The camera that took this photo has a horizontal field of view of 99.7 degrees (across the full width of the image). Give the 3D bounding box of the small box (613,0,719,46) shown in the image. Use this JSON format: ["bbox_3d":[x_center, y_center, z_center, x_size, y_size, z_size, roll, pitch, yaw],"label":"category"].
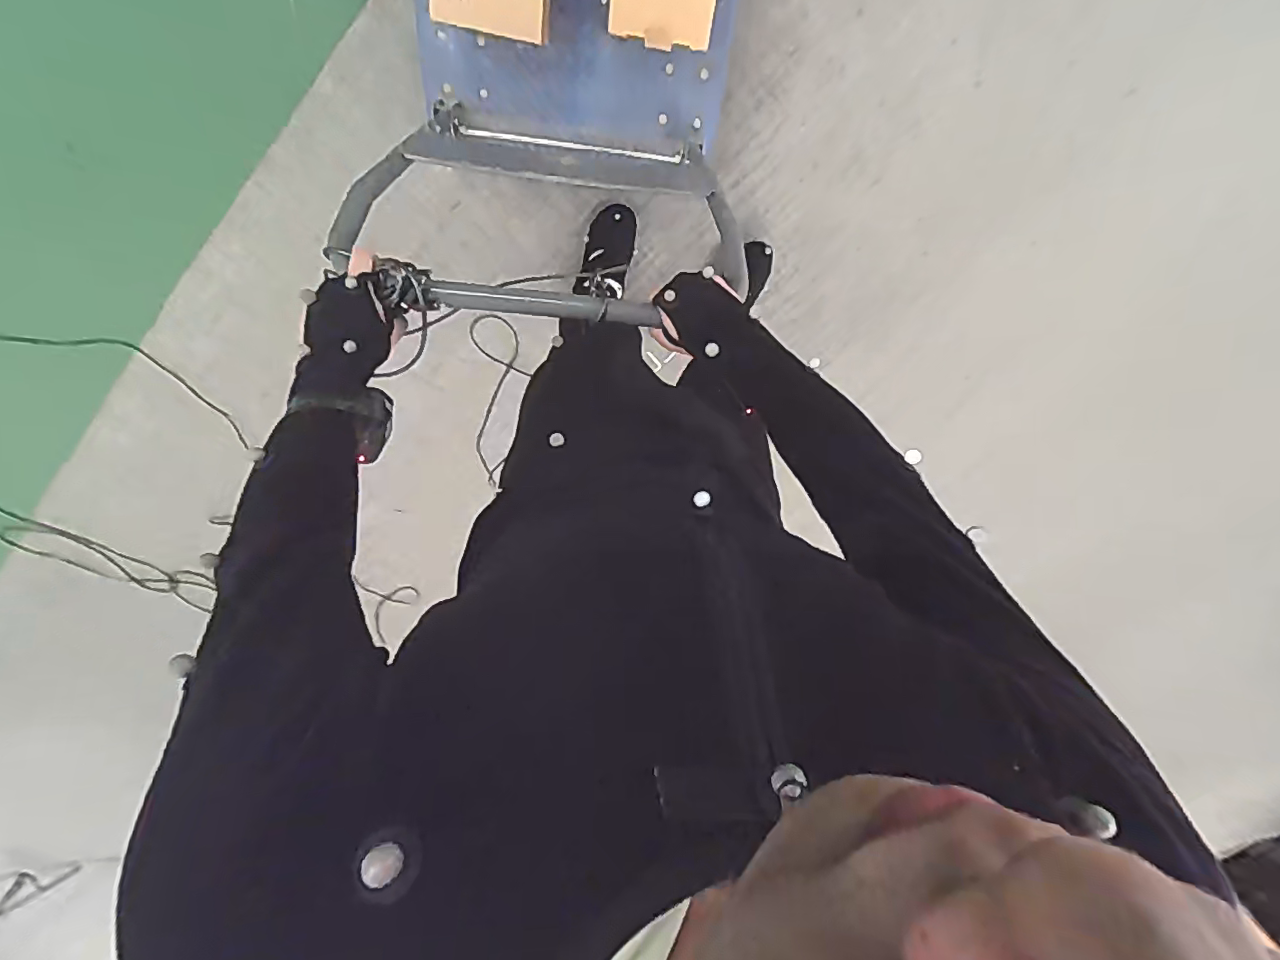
[{"bbox_3d":[0.044,-0.831,0.875,0.168,0.176,0.179,4,131,-6],"label":"small box"}]
